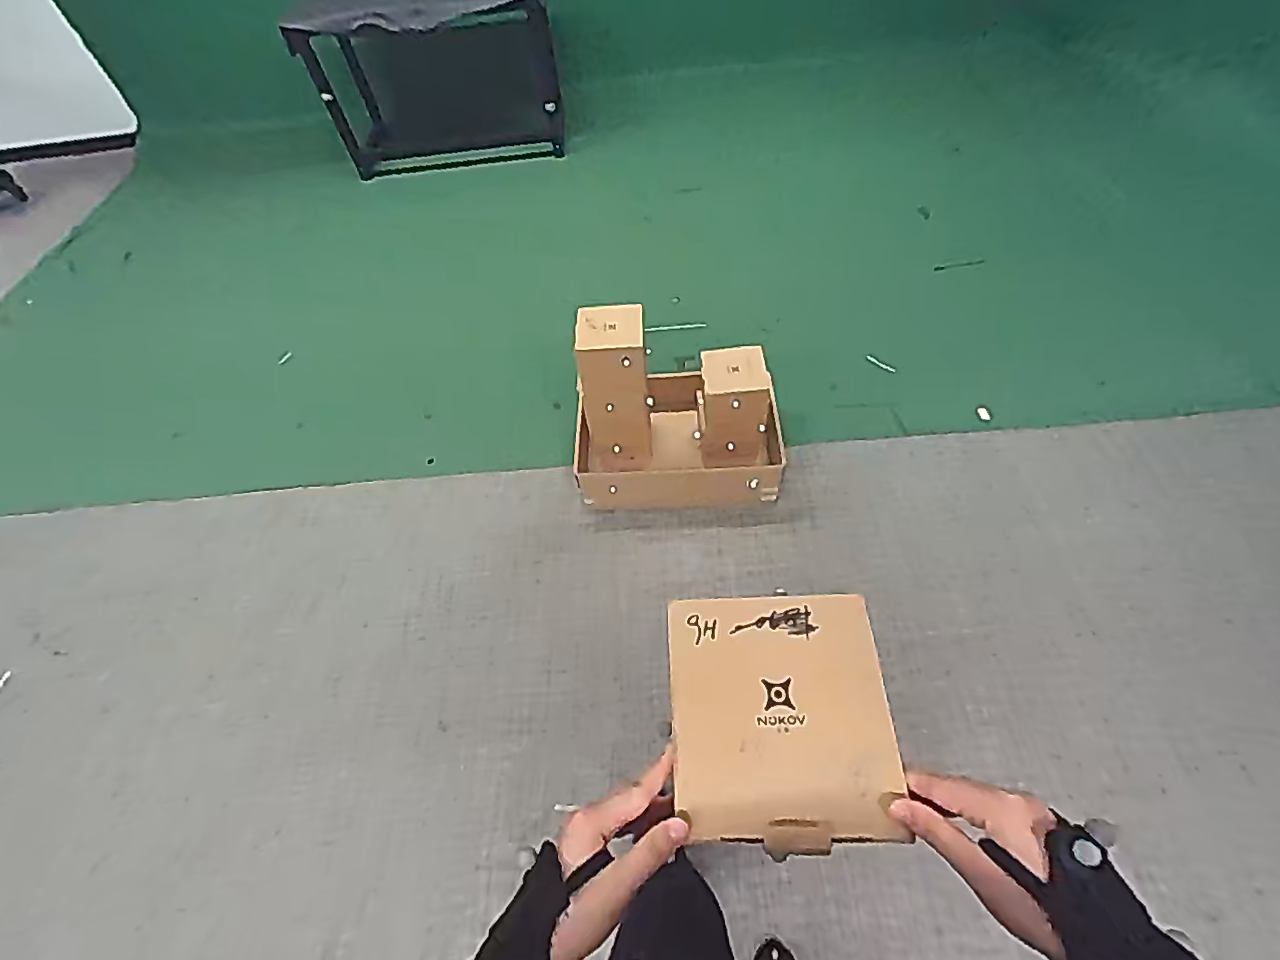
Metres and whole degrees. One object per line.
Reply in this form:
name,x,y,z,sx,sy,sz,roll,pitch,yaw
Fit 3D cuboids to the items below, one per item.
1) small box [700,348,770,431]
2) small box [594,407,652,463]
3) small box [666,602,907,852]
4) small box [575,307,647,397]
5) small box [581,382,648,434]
small box,0.268,-0.254,1.554,0.179,0.176,0.168,-5,58,4
small box,-0.051,-0.165,1.725,0.168,0.176,0.179,-3,56,3
small box,0.111,0.220,0.486,0.168,0.176,0.179,-3,60,3
small box,-0.071,-0.339,1.446,0.179,0.176,0.168,-3,55,3
small box,-0.069,-0.248,1.585,0.179,0.176,0.168,-2,56,3
